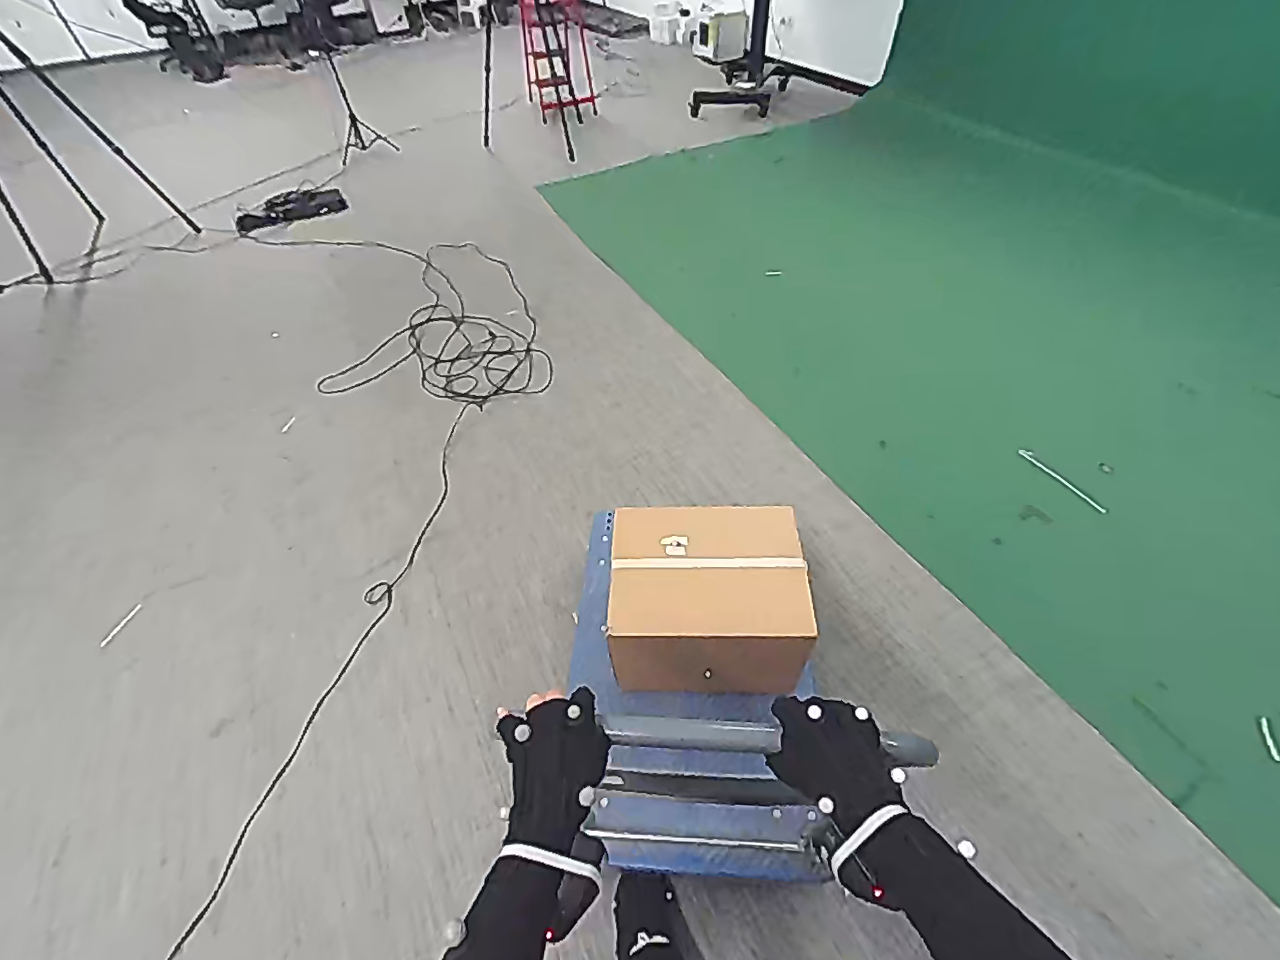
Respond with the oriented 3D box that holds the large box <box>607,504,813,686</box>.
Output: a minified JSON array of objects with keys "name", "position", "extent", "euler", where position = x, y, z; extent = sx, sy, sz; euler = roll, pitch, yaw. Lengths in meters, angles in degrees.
[{"name":"large box","position":[0.145,0.272,1.249],"extent":[0.408,0.320,0.320],"euler":[-1,49,3]}]
